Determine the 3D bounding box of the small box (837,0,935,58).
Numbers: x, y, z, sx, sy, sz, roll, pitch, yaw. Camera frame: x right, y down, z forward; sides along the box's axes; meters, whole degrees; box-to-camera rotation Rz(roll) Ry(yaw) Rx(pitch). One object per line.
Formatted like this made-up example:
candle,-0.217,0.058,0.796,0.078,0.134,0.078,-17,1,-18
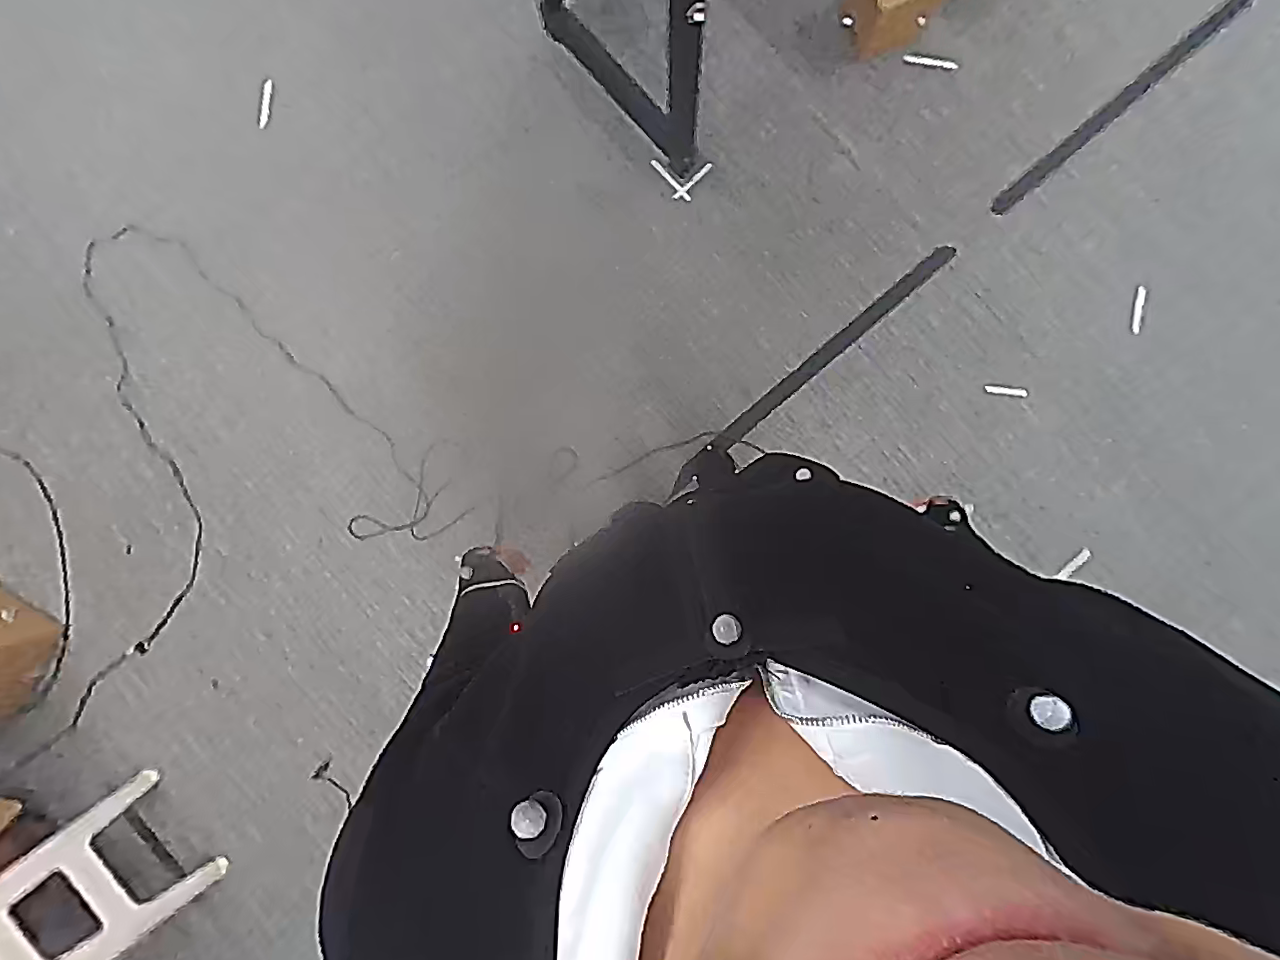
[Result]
small box,0.629,-1.236,1.373,0.179,0.176,0.168,-21,89,5
